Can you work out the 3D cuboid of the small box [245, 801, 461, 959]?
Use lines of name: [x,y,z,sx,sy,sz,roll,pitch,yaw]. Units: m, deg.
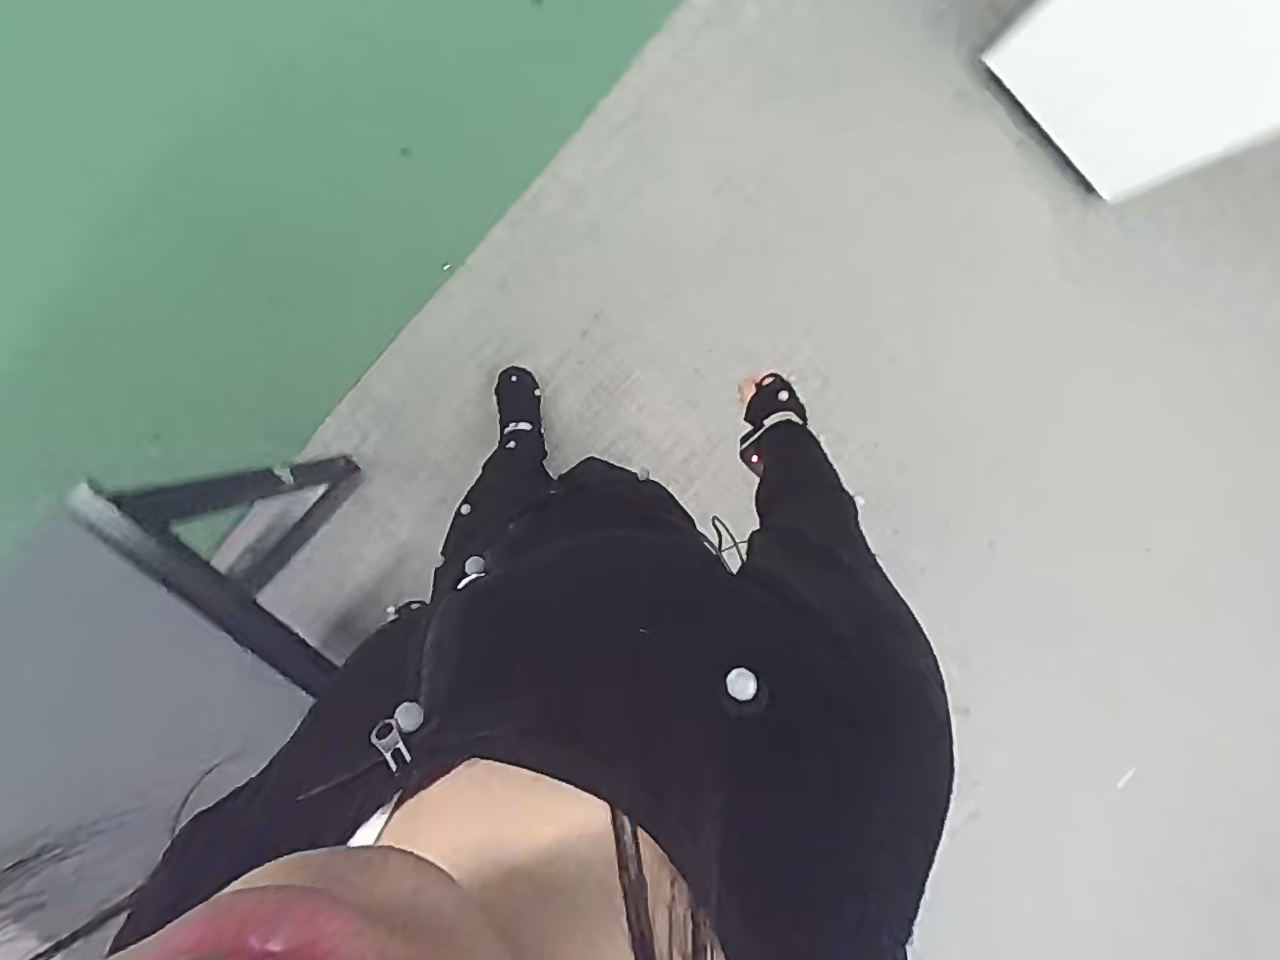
small box: [-0.370,0.587,0.720,0.179,0.176,0.168,-43,98,2]
